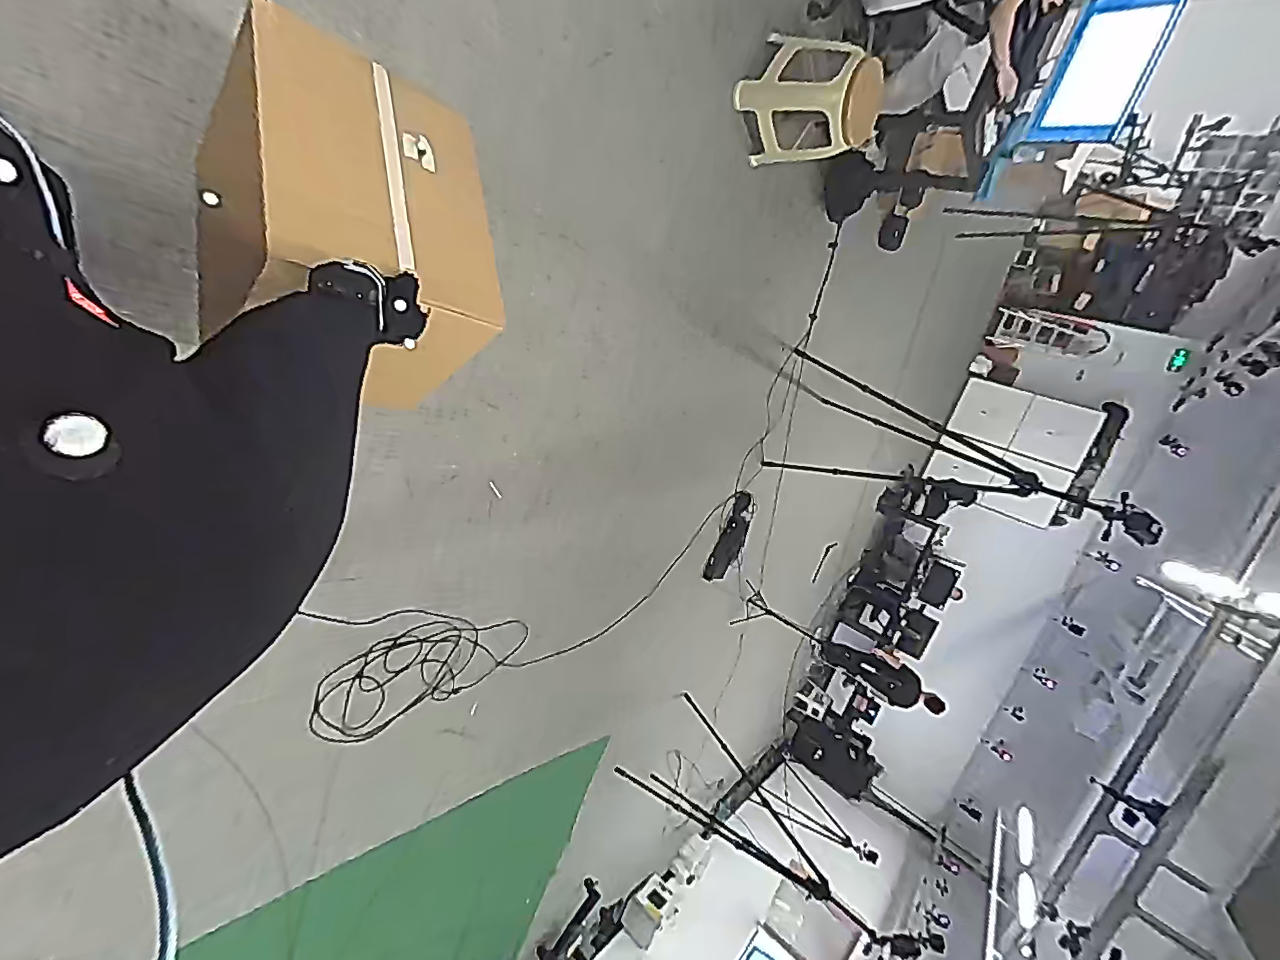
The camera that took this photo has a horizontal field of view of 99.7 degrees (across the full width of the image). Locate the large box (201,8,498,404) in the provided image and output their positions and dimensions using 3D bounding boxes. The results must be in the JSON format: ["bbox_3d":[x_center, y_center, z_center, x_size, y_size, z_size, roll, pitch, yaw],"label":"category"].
[{"bbox_3d":[-0.470,-0.374,0.859,0.320,0.320,0.408,3,69,-50],"label":"large box"}]
